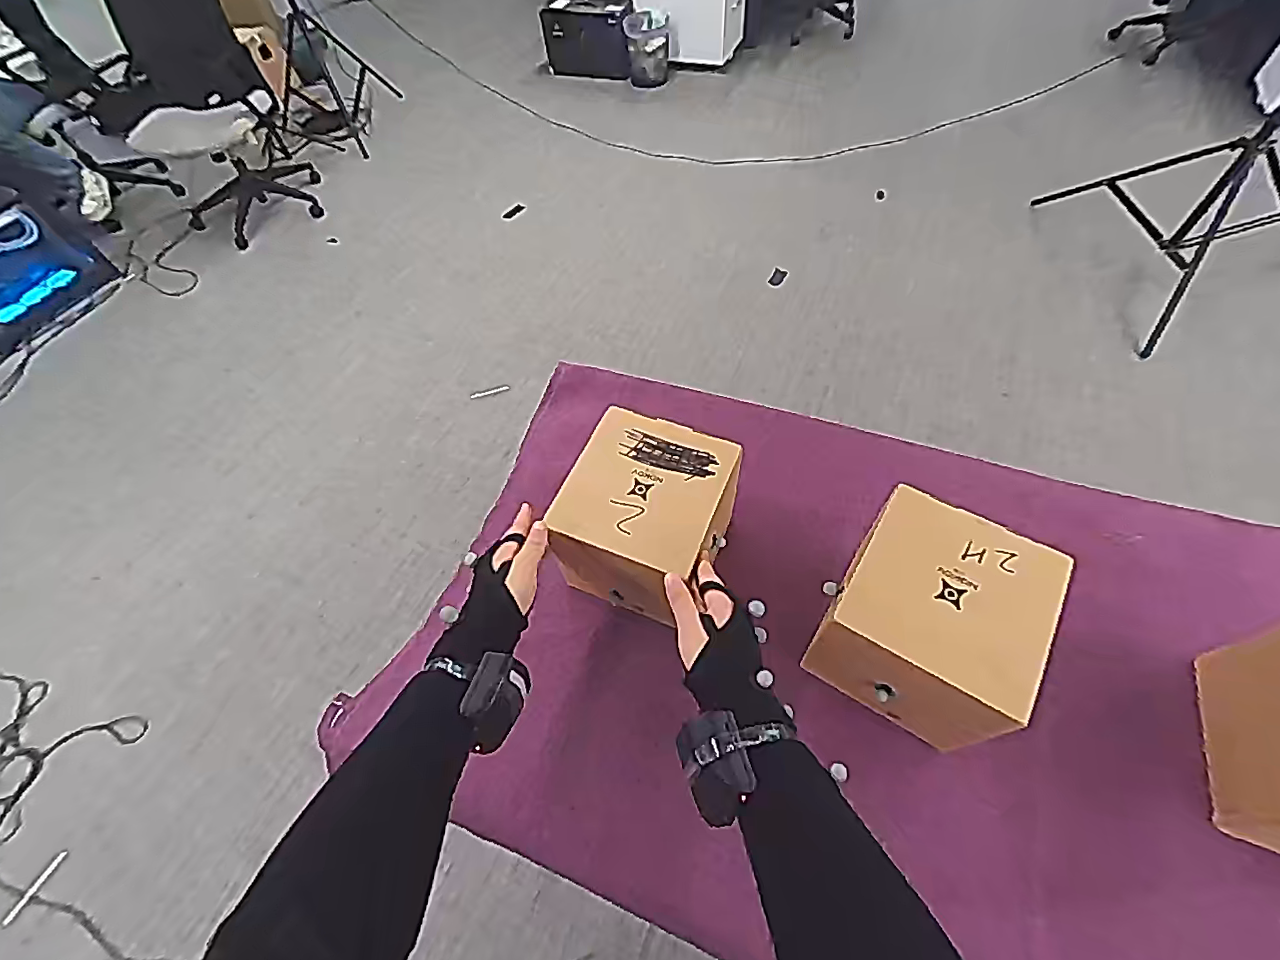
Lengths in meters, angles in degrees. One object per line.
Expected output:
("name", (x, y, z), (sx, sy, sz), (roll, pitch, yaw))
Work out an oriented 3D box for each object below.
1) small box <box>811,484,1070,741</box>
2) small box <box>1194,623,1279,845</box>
("small box", (0.296, 0.144, 0.567), (0.168, 0.176, 0.179), (28, 63, 21))
("small box", (0.648, 0.242, 0.471), (0.168, 0.176, 0.179), (17, 58, 17))
